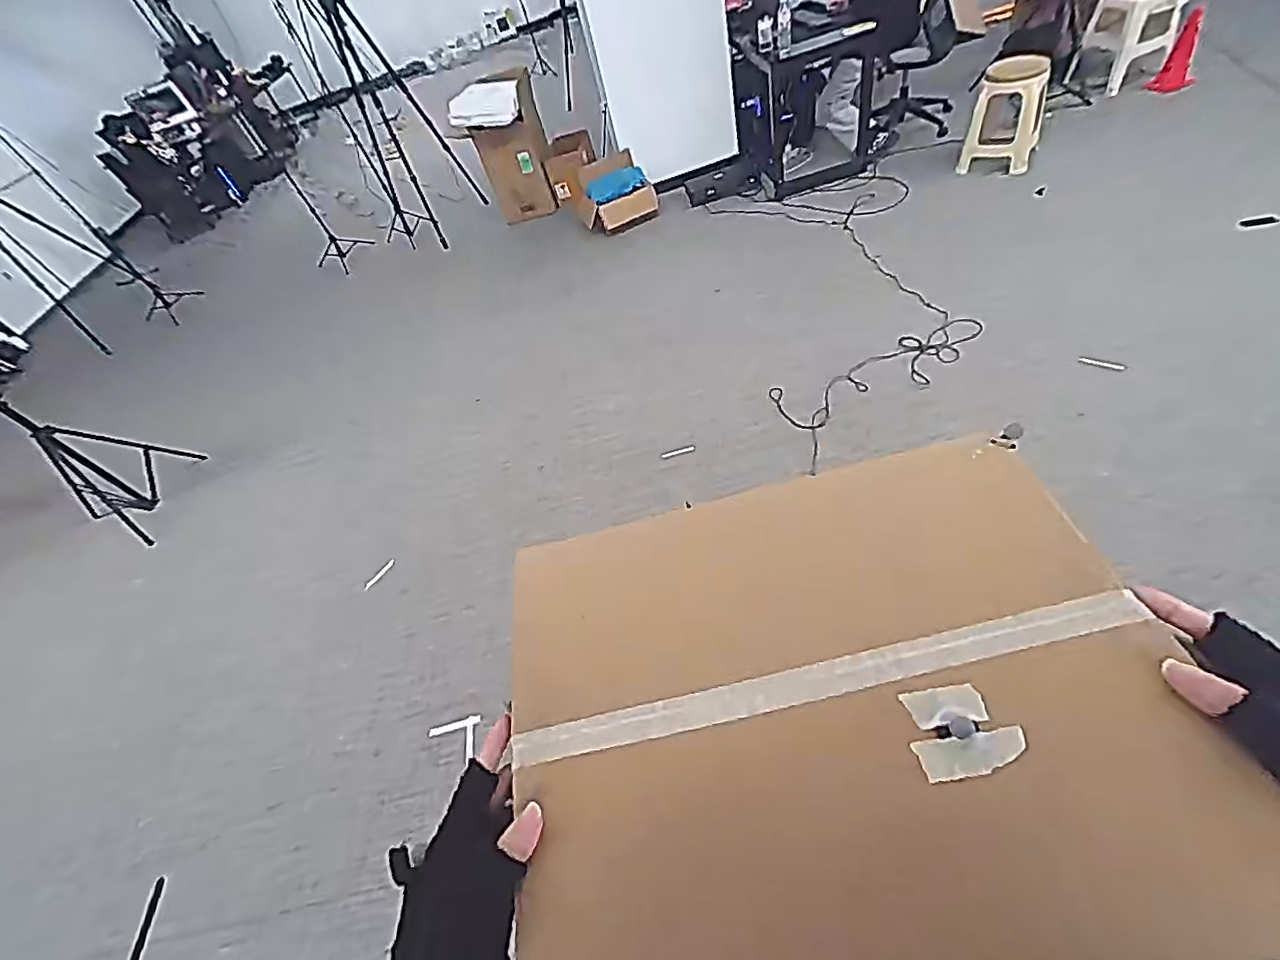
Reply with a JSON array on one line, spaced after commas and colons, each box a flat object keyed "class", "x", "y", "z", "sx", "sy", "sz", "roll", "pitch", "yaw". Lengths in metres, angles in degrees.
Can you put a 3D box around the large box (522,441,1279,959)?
[{"class": "large box", "x": 0.144, "y": 0.224, "z": 0.474, "sx": 0.408, "sy": 0.320, "sz": 0.320, "roll": -15, "pitch": 51, "yaw": 3}]
